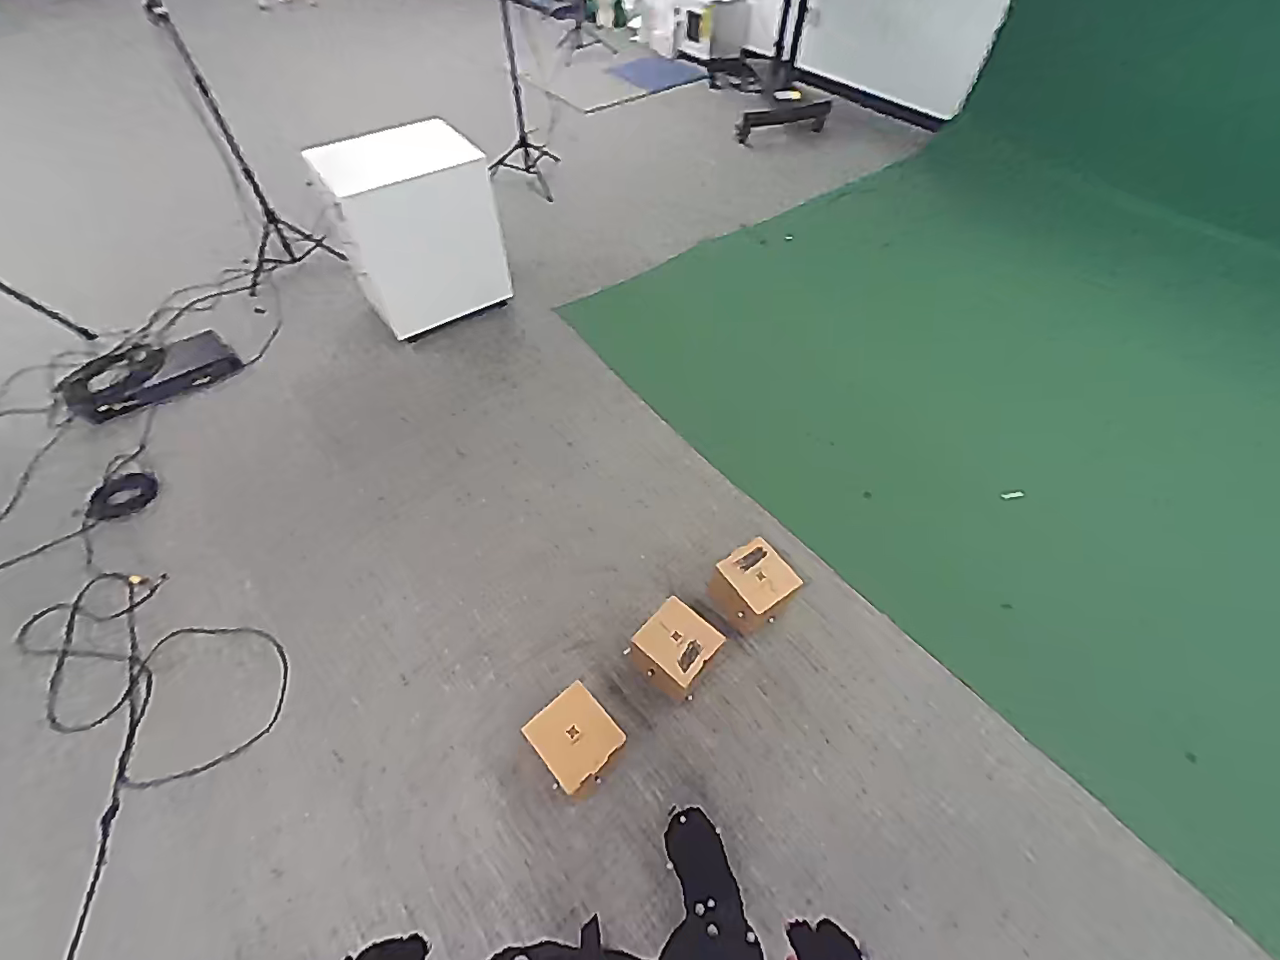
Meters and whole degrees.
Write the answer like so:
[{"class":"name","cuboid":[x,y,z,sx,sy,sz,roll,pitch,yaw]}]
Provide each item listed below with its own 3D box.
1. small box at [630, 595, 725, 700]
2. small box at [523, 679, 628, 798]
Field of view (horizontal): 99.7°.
[{"class":"small box","cuboid":[0.092,0.434,1.380,0.179,0.176,0.168,36,60,24]},{"class":"small box","cuboid":[-0.145,0.601,1.249,0.168,0.176,0.179,-37,63,-25]}]
